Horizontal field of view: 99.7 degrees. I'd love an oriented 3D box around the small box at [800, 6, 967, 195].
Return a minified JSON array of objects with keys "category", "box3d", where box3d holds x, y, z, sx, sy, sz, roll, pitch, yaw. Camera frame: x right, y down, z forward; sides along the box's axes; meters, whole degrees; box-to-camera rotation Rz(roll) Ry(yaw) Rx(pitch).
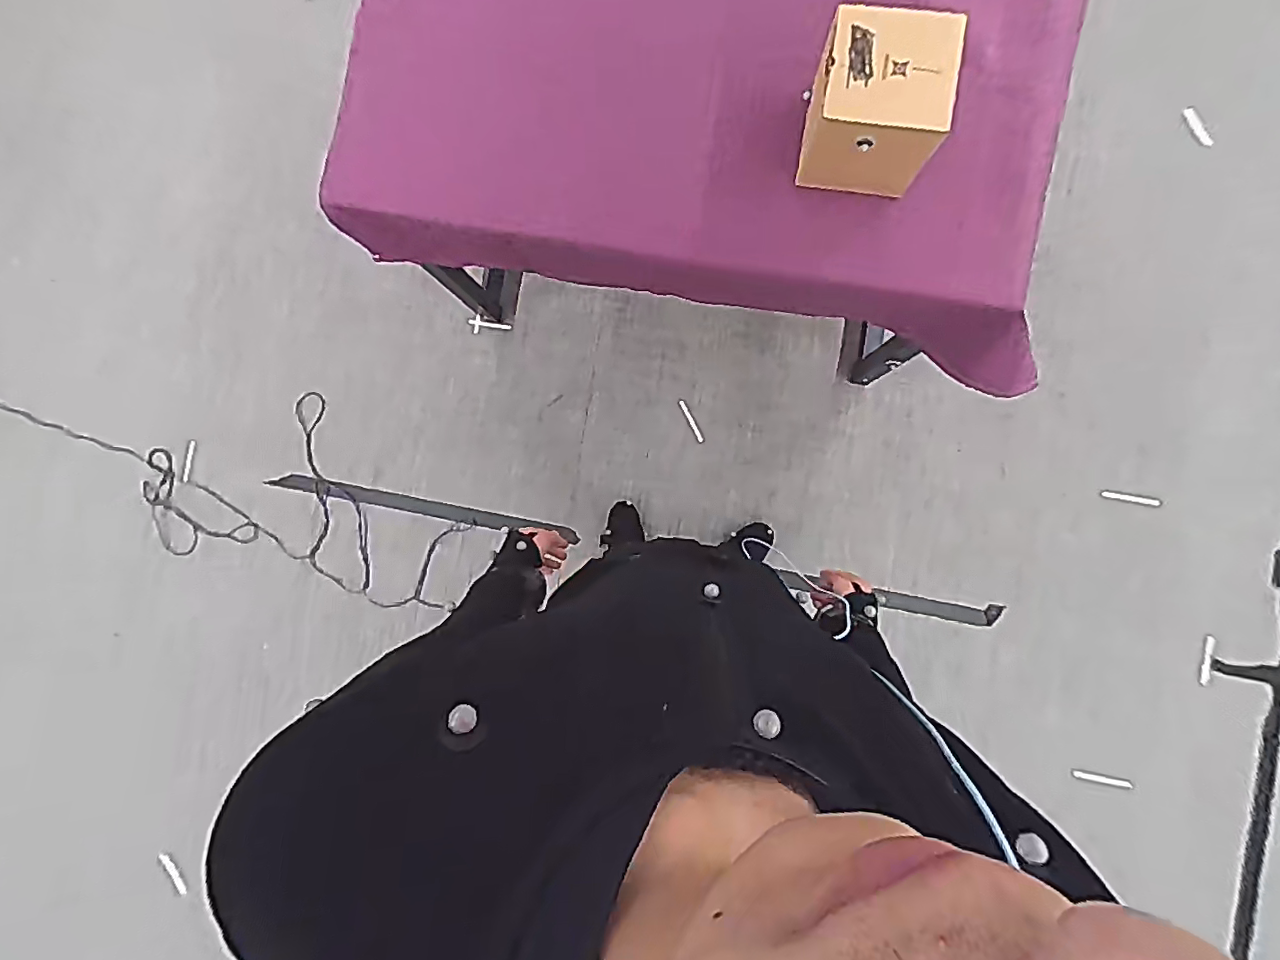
[{"category":"small box","box3d":[0.354,-0.562,0.821,0.179,0.176,0.168,10,90,4]}]
